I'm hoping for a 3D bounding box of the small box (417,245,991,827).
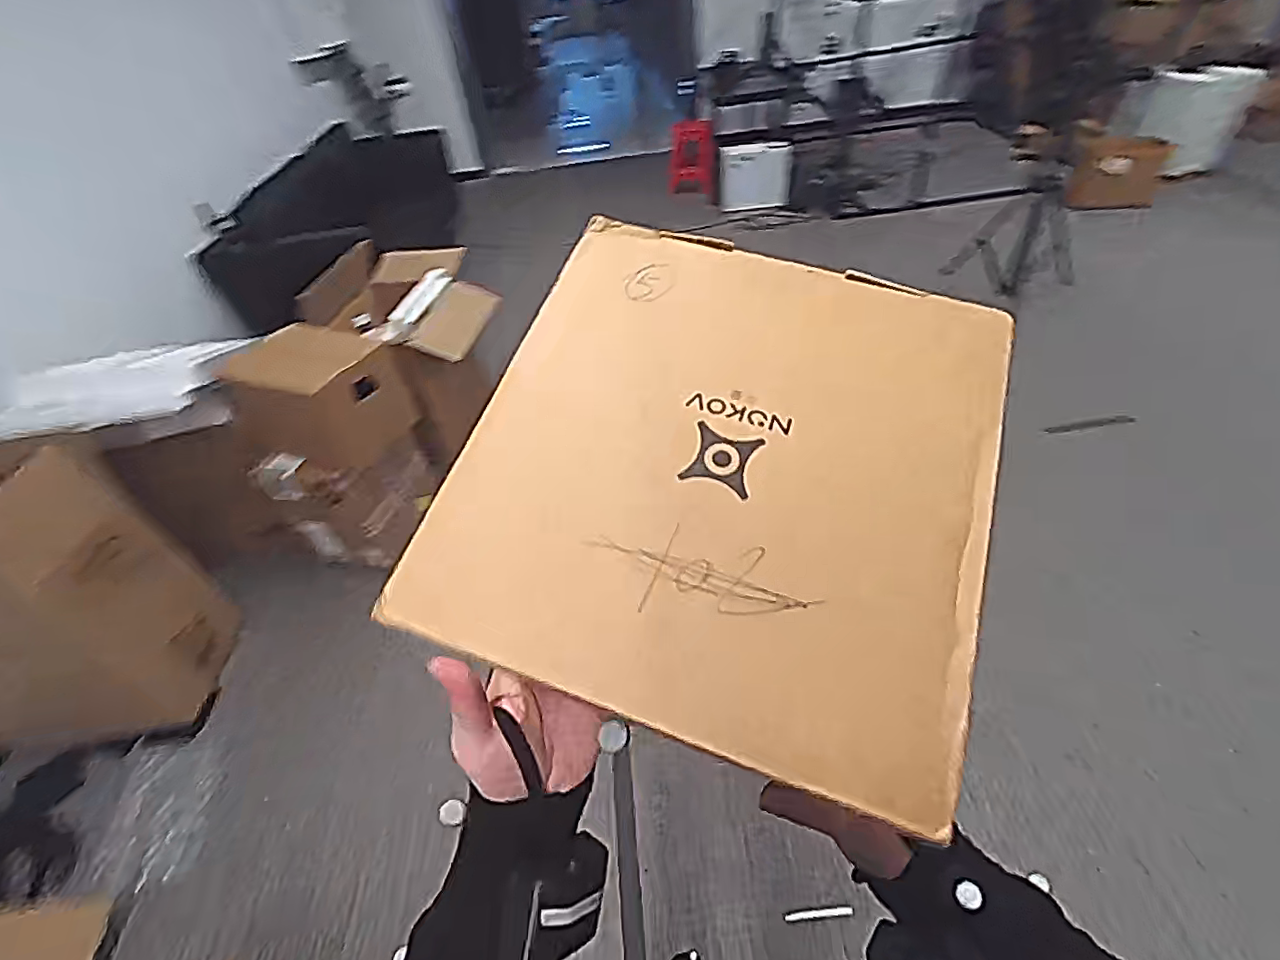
[{"bbox_3d":[0.034,0.028,0.264,0.168,0.176,0.179,17,68,11],"label":"small box"}]
